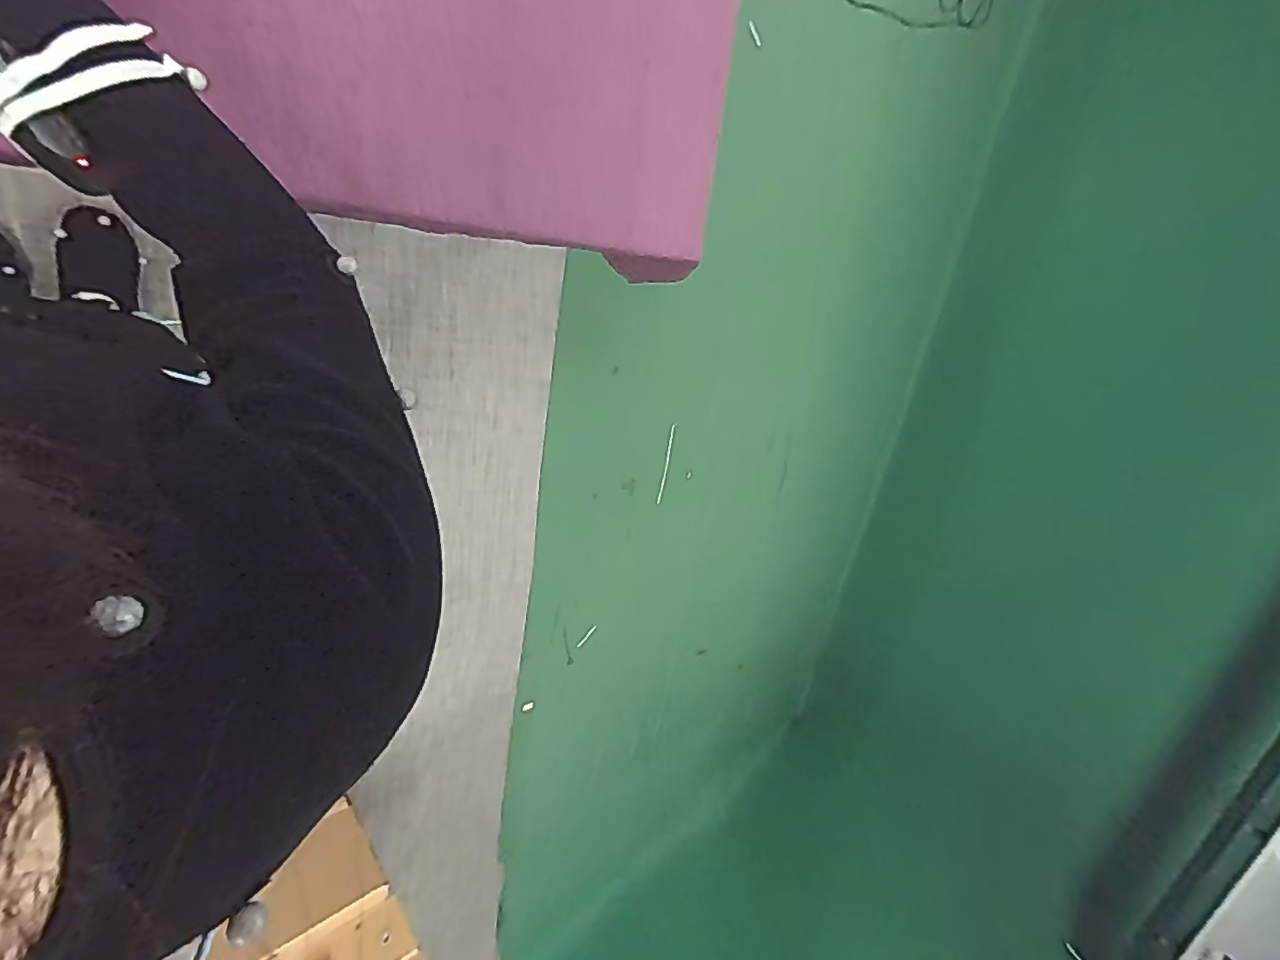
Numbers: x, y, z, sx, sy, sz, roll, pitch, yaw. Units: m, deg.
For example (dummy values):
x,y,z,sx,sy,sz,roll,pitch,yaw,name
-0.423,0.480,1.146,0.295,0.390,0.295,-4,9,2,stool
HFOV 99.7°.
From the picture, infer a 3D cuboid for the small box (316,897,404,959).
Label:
x,y,z,sx,sy,sz,roll,pitch,yaw,name
-0.737,1.251,1.418,0.168,0.176,0.179,-7,117,-44,small box
